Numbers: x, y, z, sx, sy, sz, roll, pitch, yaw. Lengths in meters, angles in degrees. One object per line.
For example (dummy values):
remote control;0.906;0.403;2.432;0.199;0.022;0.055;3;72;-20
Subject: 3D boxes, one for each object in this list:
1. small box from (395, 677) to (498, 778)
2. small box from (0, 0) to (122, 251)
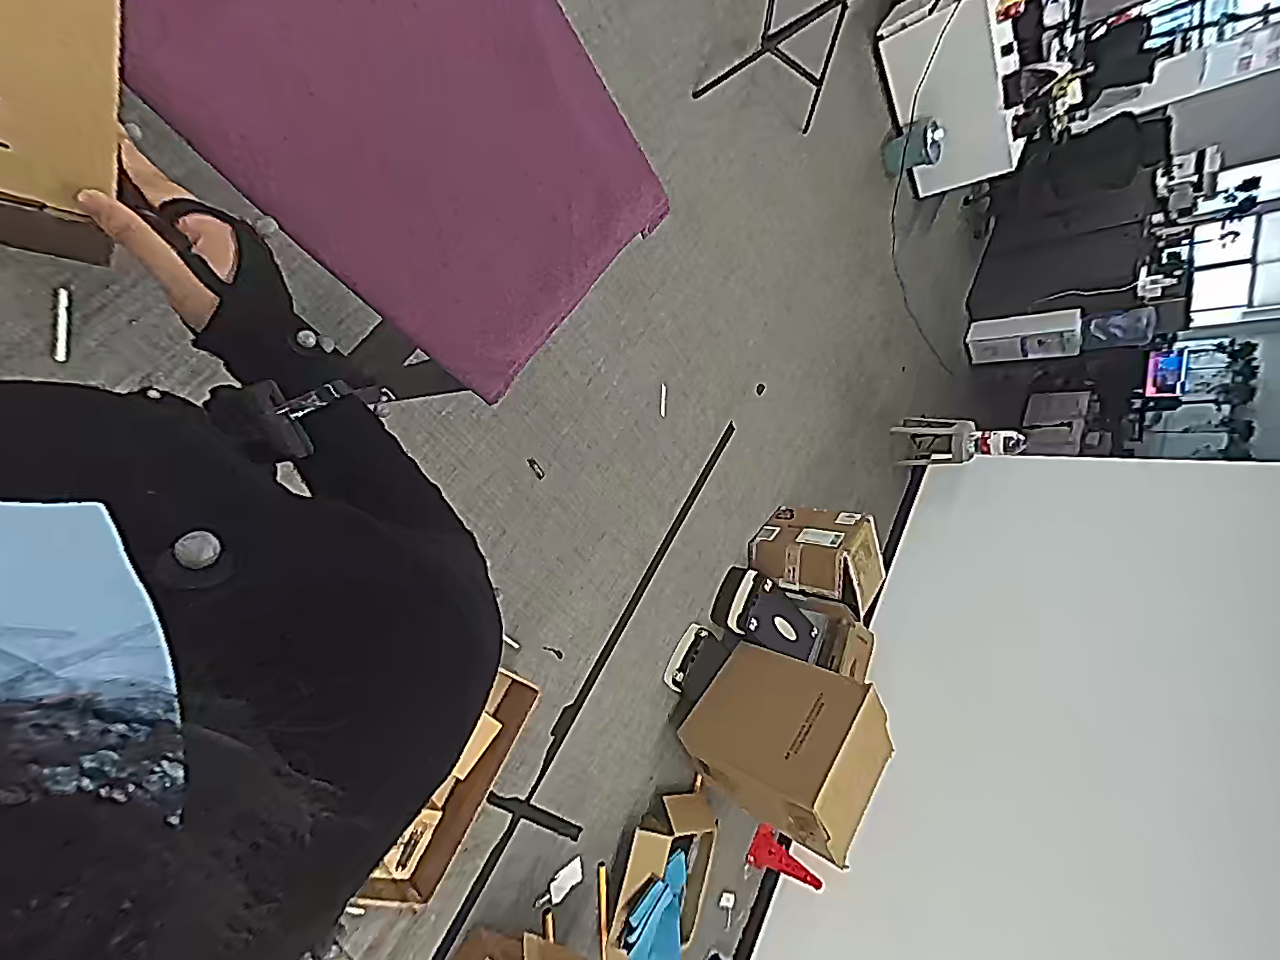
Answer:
small box;-0.537;0.679;1.501;0.168;0.176;0.179;-52;127;-26
small box;-0.434;-0.260;0.330;0.168;0.176;0.179;1;95;-46
